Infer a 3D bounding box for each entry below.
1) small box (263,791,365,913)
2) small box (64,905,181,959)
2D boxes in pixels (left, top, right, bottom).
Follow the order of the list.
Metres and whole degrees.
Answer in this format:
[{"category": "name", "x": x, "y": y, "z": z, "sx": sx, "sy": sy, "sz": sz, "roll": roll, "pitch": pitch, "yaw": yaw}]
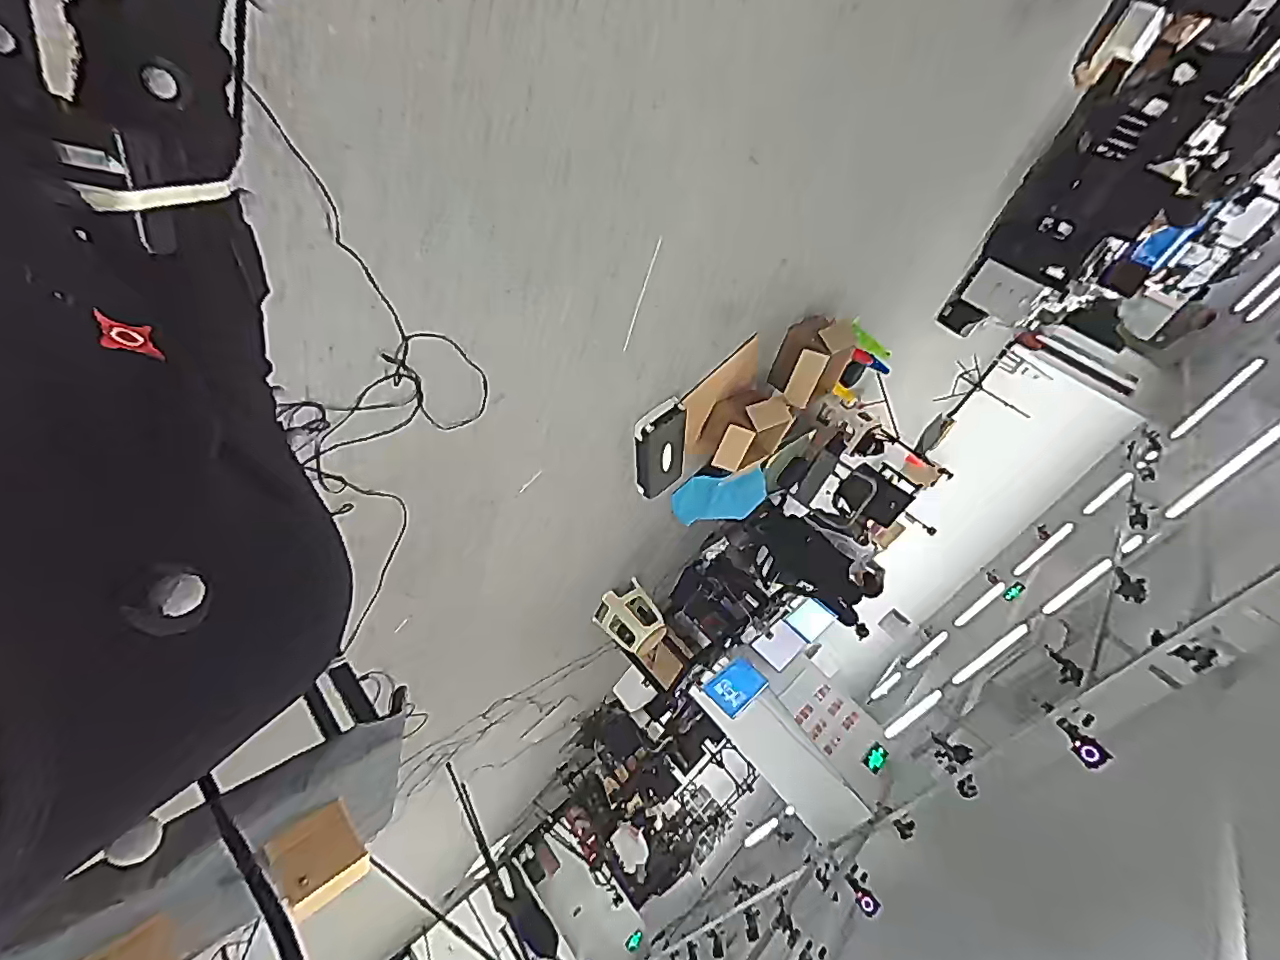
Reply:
[{"category": "small box", "x": -0.826, "y": 0.939, "z": 1.376, "sx": 0.179, "sy": 0.176, "sz": 0.168, "roll": -21, "pitch": 146, "yaw": -42}, {"category": "small box", "x": -1.084, "y": 1.051, "z": 1.139, "sx": 0.168, "sy": 0.176, "sz": 0.179, "roll": -16, "pitch": 144, "yaw": -46}]
